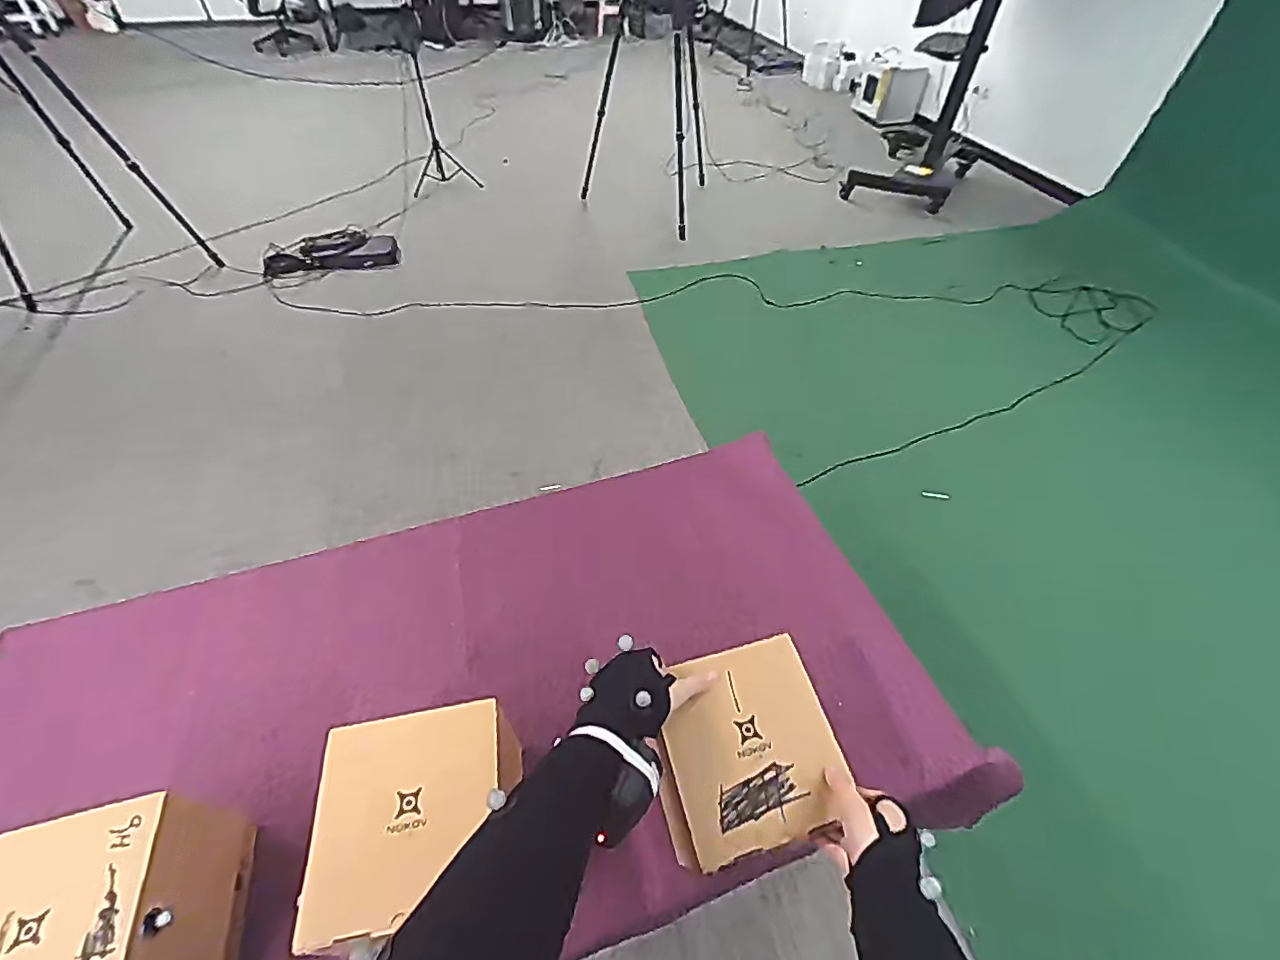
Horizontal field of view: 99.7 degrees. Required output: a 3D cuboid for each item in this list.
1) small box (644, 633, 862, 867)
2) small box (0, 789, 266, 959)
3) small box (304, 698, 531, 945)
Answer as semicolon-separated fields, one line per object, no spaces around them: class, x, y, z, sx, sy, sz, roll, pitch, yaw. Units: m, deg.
small box;0.105;0.295;0.596;0.168;0.176;0.179;-12;58;-11
small box;-0.494;0.417;0.501;0.179;0.176;0.168;-12;52;-10
small box;-0.210;0.354;0.561;0.168;0.176;0.179;-8;51;-8
